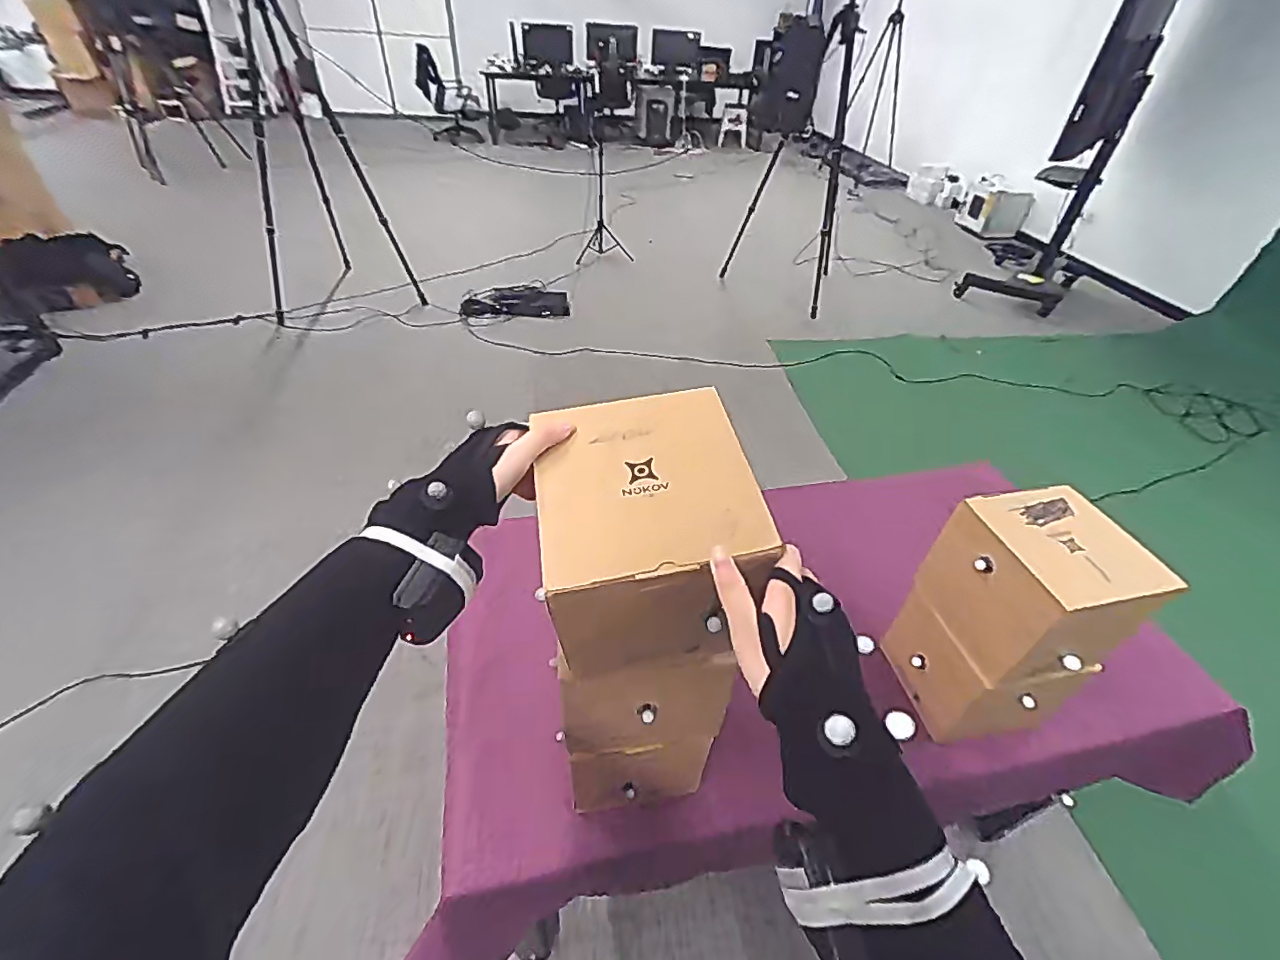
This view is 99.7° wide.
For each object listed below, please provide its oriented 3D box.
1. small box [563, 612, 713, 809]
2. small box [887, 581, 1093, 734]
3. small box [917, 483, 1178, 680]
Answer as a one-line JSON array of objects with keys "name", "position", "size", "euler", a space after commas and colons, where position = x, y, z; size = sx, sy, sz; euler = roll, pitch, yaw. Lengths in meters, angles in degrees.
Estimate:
[{"name": "small box", "position": [-0.015, 0.304, 0.721], "size": [0.168, 0.176, 0.179], "euler": [-5, 43, -10]}, {"name": "small box", "position": [0.498, 0.258, 0.808], "size": [0.179, 0.176, 0.168], "euler": [-5, 43, -10]}, {"name": "small box", "position": [0.503, 0.130, 0.704], "size": [0.168, 0.176, 0.179], "euler": [-7, 43, -11]}]
